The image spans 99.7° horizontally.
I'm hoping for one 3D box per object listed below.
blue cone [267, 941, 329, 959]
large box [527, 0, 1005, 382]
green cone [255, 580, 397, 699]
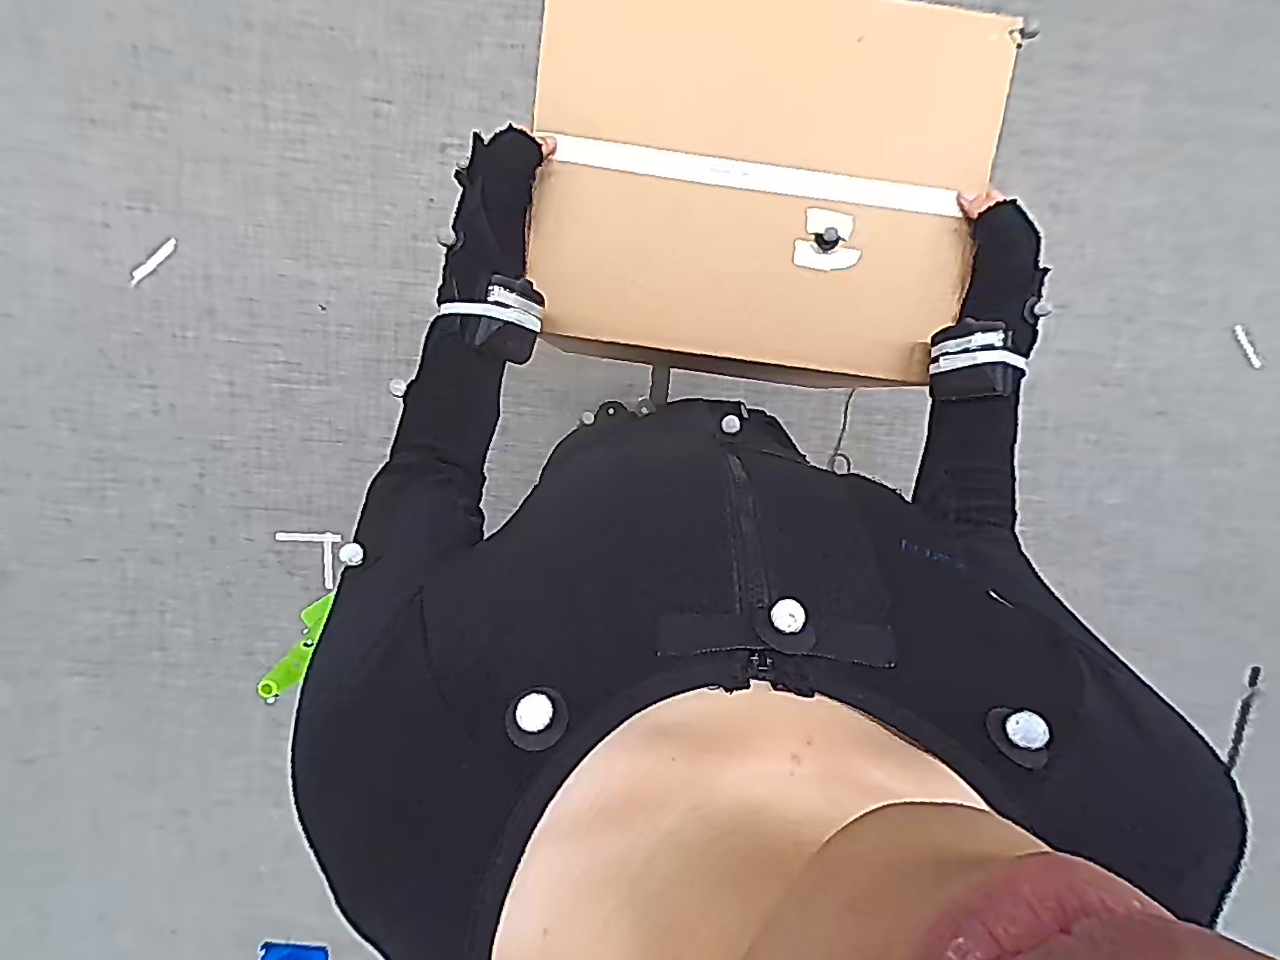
[{"bbox_3d":[-1.042,1.515,1.482,0.192,0.380,0.193,8,97,-2],"label":"blue cone"},{"bbox_3d":[0.101,-0.294,0.631,0.408,0.320,0.320,7,99,-3],"label":"large box"},{"bbox_3d":[-0.800,0.420,1.329,0.202,0.368,0.200,-33,96,4],"label":"green cone"}]
